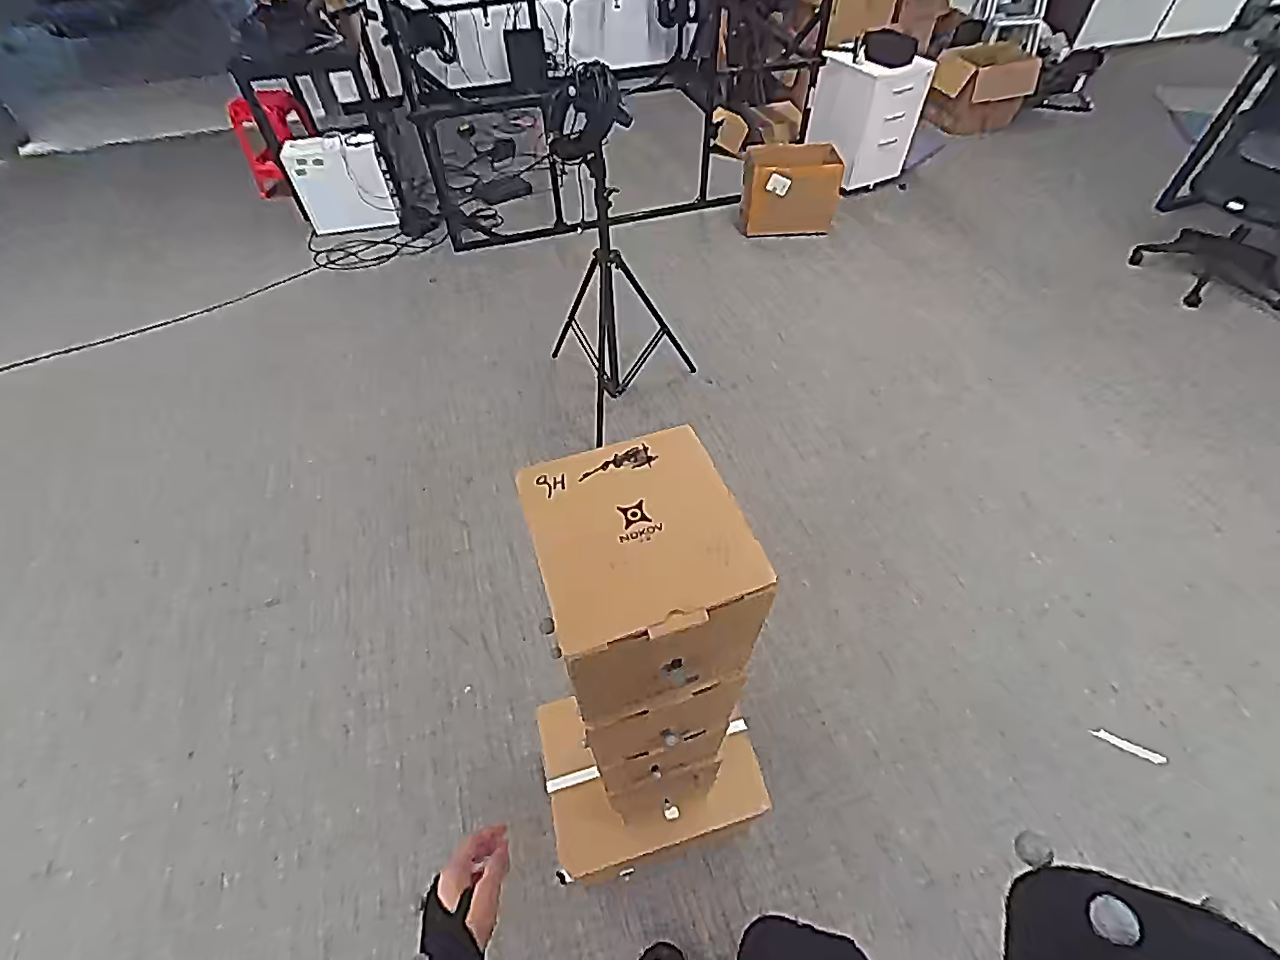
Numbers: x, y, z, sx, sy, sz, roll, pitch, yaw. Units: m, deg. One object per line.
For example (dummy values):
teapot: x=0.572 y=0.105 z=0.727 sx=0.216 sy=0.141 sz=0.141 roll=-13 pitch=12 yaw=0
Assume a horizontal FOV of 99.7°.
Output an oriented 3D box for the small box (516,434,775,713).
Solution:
small box: x=-0.001 y=0.092 z=0.492 sx=0.168 sy=0.176 sz=0.179 roll=-16 pitch=54 yaw=-12

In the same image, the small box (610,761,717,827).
small box: x=0.025 y=0.513 z=0.994 sx=0.179 sy=0.176 sz=0.168 roll=-15 pitch=53 yaw=-11

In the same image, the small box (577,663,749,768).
small box: x=0.003 y=0.198 z=0.617 sx=0.168 sy=0.176 sz=0.179 roll=-16 pitch=54 yaw=-11

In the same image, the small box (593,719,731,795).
small box: x=0.007 y=0.303 z=0.744 sx=0.168 sy=0.176 sz=0.179 roll=-14 pitch=53 yaw=-10
